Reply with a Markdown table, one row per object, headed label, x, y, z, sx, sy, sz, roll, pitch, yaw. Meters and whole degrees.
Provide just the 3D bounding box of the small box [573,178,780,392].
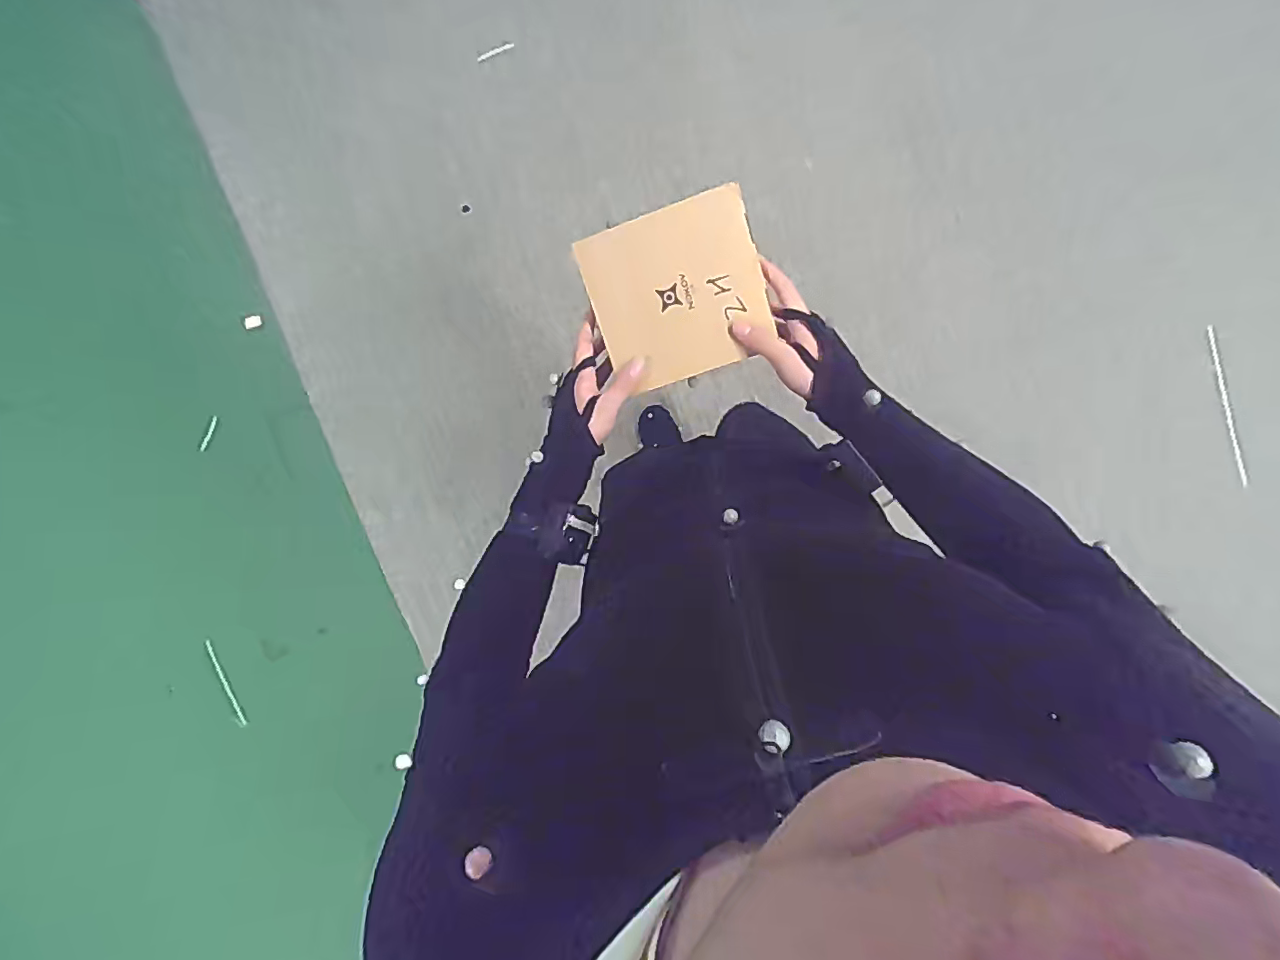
| label | x | y | z | sx | sy | sz | roll | pitch | yaw |
| --- | --- | --- | --- | --- | --- | --- | --- | --- | --- |
| small box | 0.043 | -0.209 | 0.619 | 0.179 | 0.176 | 0.168 | -17 | 104 | 7 |
